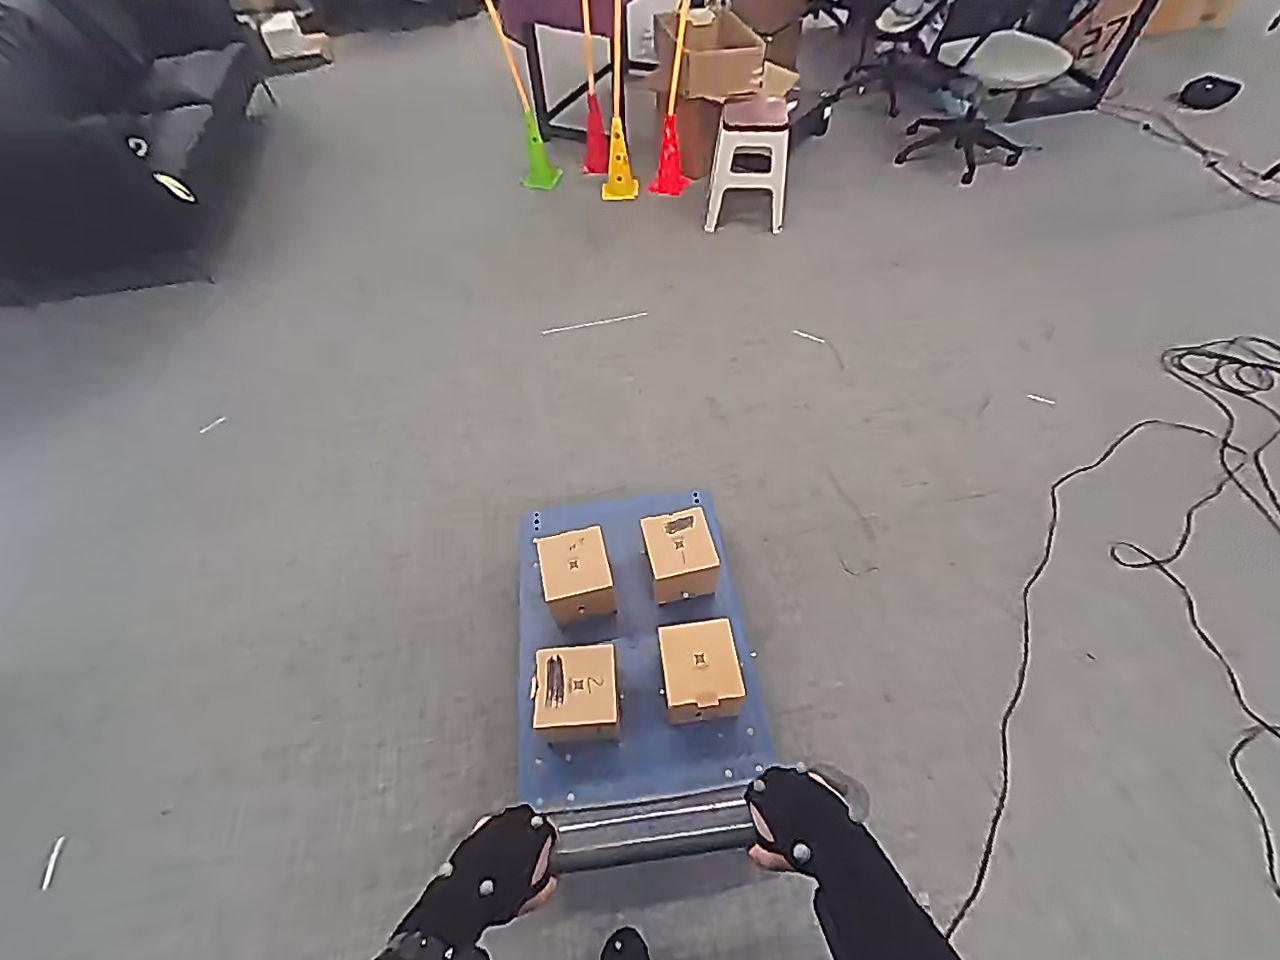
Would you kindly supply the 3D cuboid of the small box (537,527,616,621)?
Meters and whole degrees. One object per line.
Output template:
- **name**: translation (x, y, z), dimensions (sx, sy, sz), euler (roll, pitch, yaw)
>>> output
- **small box**: translation (-0.160, 0.250, 1.395), dimensions (0.168, 0.176, 0.179), euler (-12, 55, -7)

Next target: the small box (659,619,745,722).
- **small box**: translation (0.135, 0.443, 1.251), dimensions (0.168, 0.176, 0.179), euler (-7, 56, -3)

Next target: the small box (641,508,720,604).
- **small box**: translation (0.100, 0.202, 1.419), dimensions (0.168, 0.176, 0.179), euler (-12, 56, -5)
